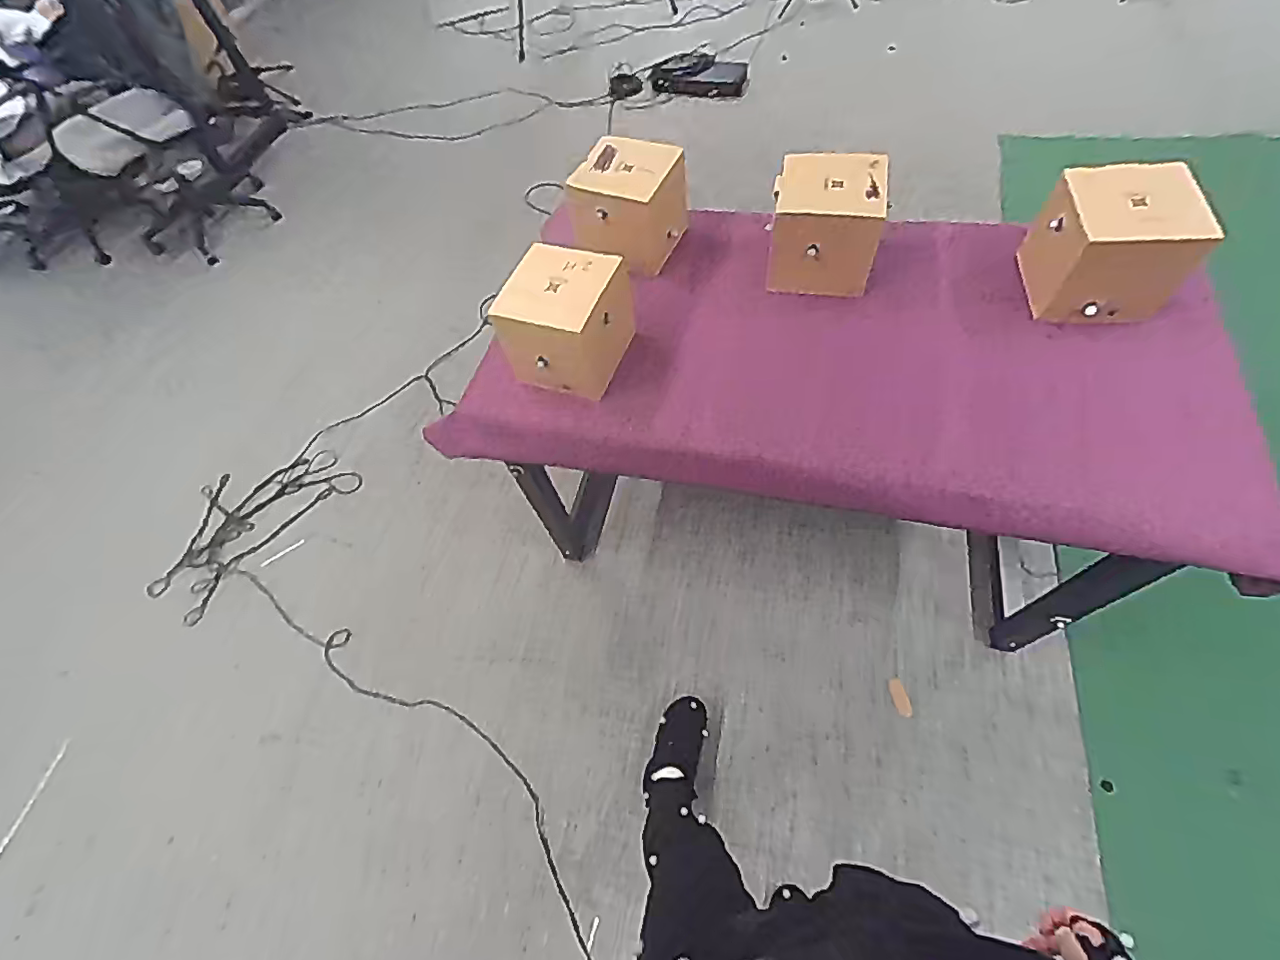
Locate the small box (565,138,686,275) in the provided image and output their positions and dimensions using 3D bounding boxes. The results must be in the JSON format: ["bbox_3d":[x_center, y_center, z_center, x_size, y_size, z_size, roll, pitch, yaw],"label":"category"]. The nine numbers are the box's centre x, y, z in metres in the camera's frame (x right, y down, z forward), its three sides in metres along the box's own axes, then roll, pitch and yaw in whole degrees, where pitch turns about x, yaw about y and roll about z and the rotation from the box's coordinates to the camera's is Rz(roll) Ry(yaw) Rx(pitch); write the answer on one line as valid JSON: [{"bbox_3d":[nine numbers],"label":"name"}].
[{"bbox_3d":[-0.020,-0.531,1.062,0.179,0.176,0.168,20,66,17],"label":"small box"}]

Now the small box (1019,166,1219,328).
[{"bbox_3d":[0.744,-0.370,0.868,0.168,0.176,0.179,4,62,12],"label":"small box"}]

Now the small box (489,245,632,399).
[{"bbox_3d":[-0.122,-0.263,0.921,0.168,0.176,0.179,16,63,15],"label":"small box"}]

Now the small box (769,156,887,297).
[{"bbox_3d":[0.330,-0.449,0.970,0.179,0.176,0.168,7,63,13],"label":"small box"}]
